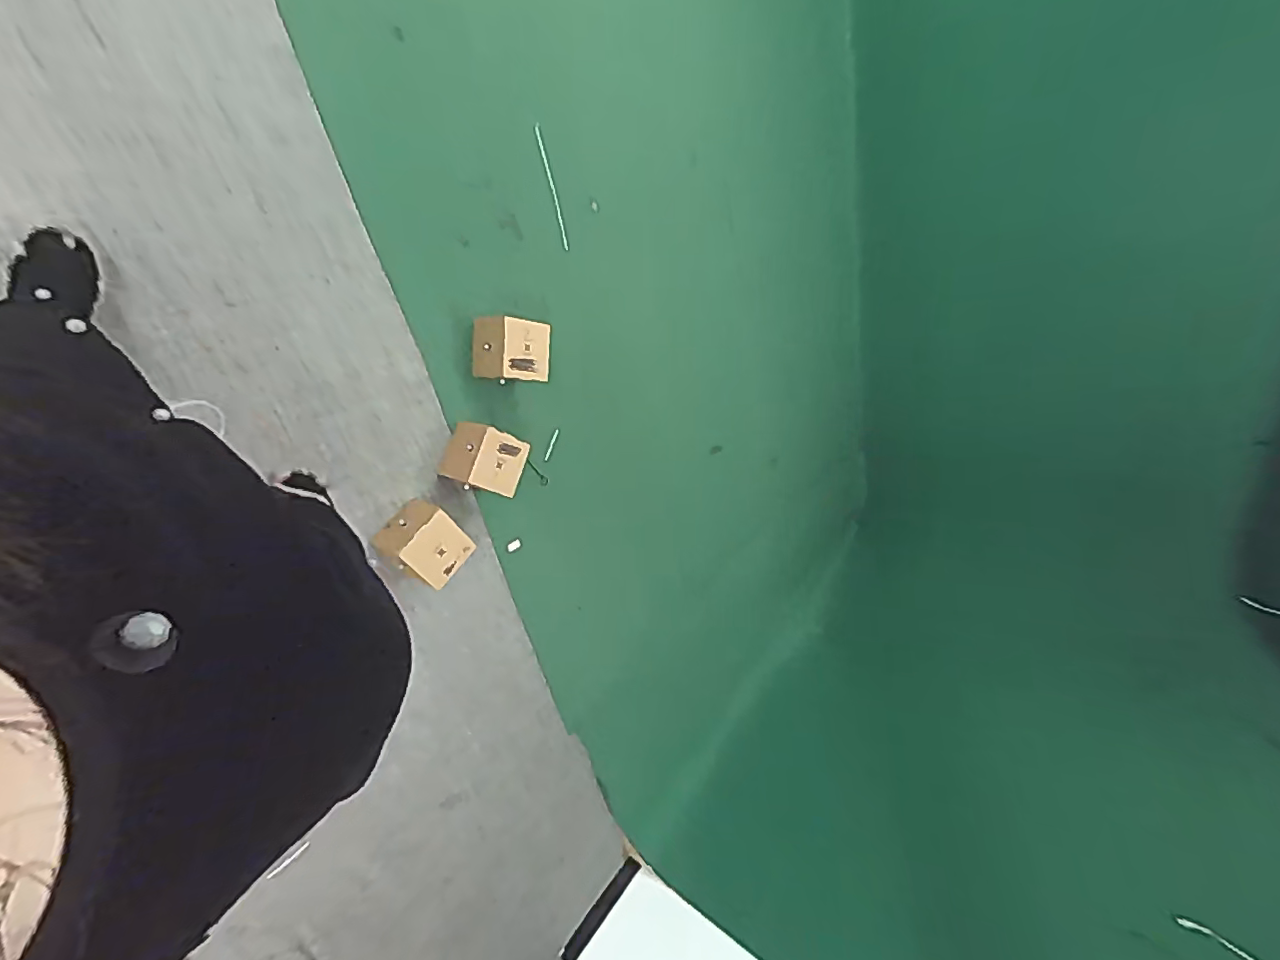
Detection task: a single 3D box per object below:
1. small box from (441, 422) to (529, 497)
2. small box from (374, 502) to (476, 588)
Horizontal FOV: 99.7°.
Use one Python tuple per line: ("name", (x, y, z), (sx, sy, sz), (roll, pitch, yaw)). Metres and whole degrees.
("small box", (-0.474, -0.066, 1.645), (0.168, 0.176, 0.179), (27, 79, -48))
("small box", (-0.614, 0.177, 1.541), (0.168, 0.176, 0.179), (-53, 132, -27))
